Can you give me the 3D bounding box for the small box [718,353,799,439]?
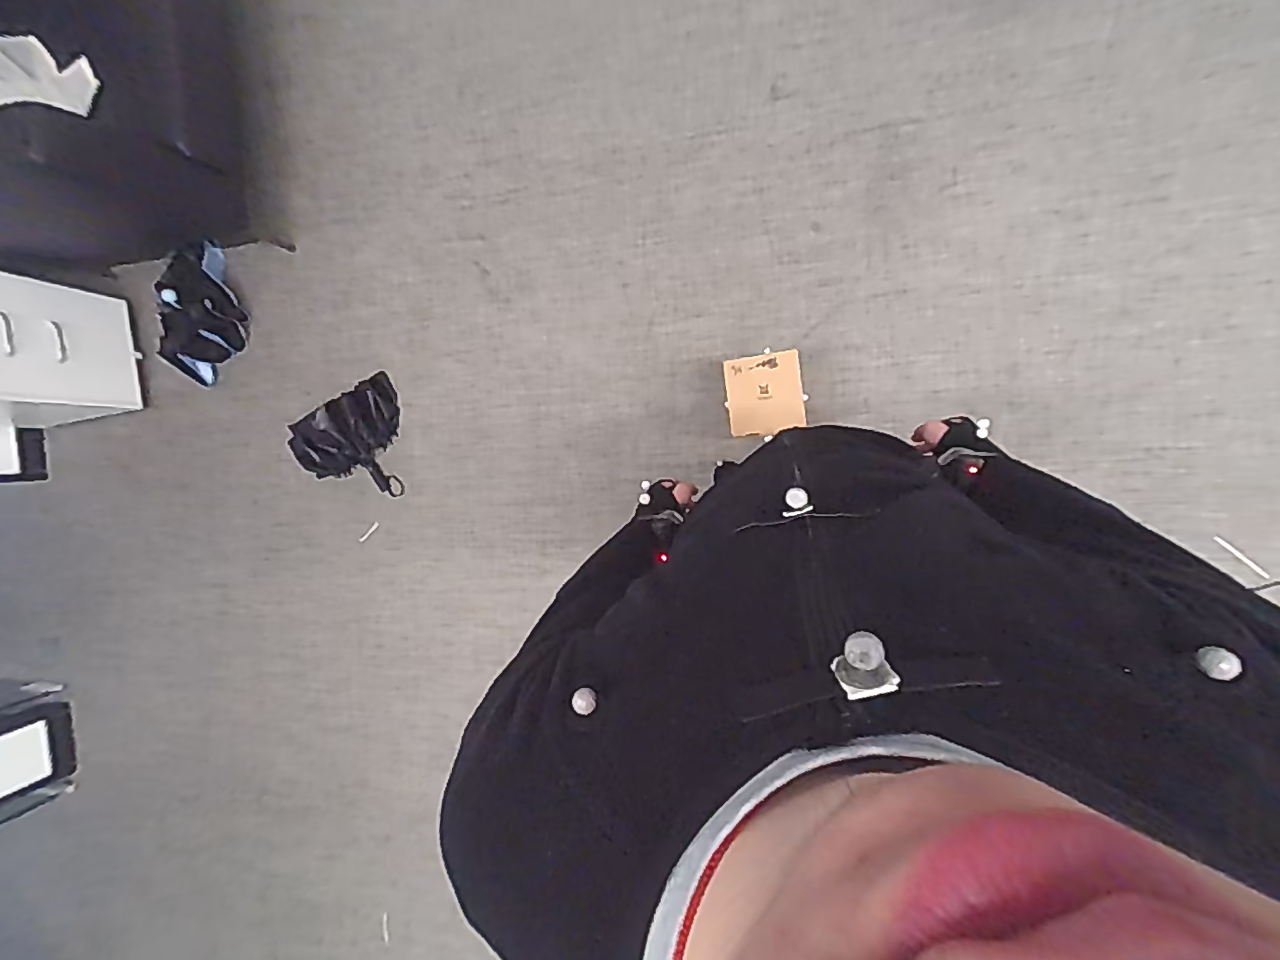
[{"bbox_3d":[0.285,-0.195,1.290,0.168,0.176,0.179,-7,93,14],"label":"small box"}]
